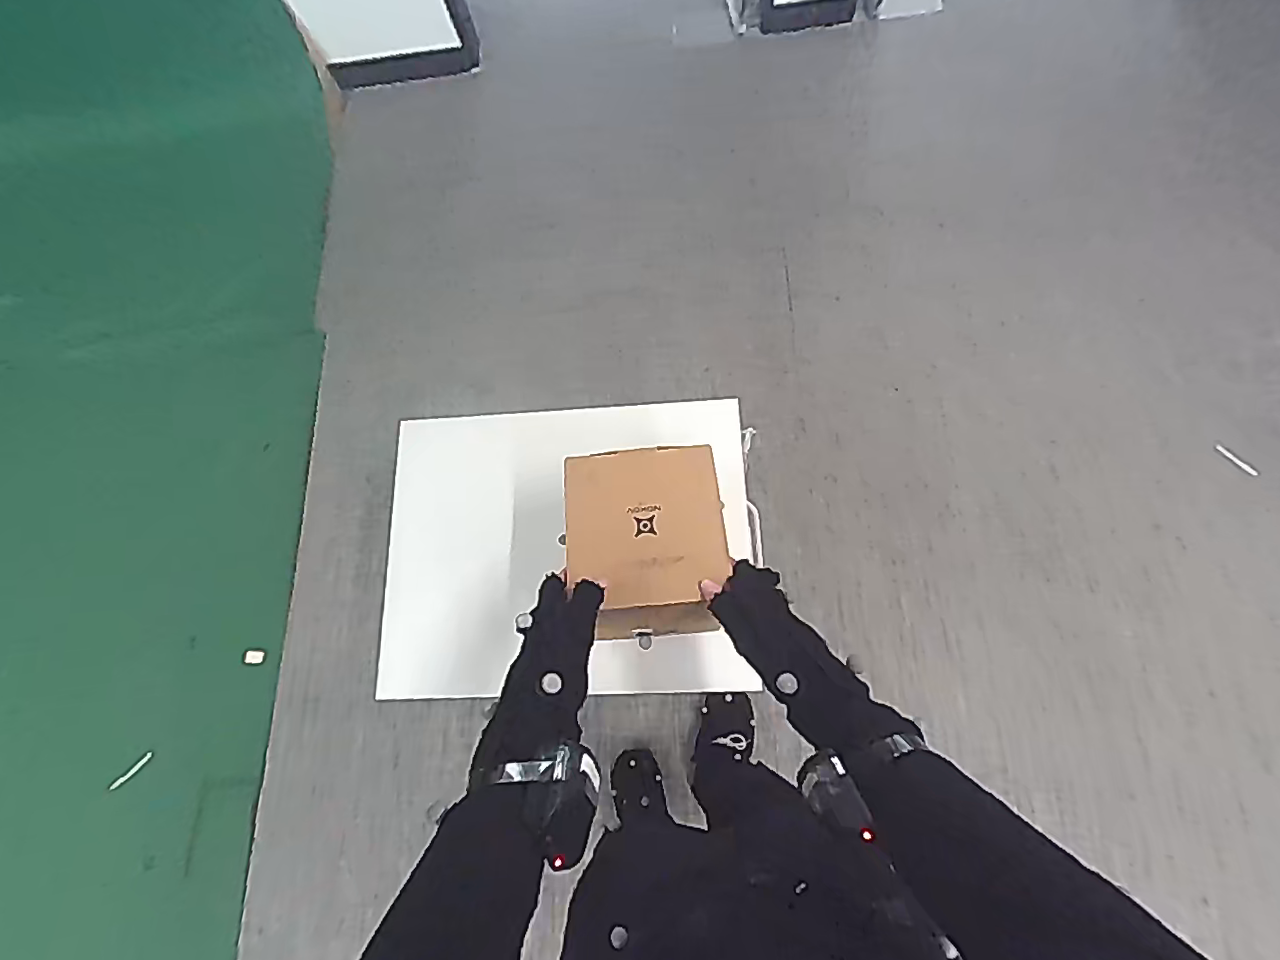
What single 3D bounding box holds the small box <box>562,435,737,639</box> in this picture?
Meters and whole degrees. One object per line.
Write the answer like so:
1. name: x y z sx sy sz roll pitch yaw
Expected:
1. small box: 0.006 0.071 0.617 0.168 0.176 0.179 -6 64 -1
